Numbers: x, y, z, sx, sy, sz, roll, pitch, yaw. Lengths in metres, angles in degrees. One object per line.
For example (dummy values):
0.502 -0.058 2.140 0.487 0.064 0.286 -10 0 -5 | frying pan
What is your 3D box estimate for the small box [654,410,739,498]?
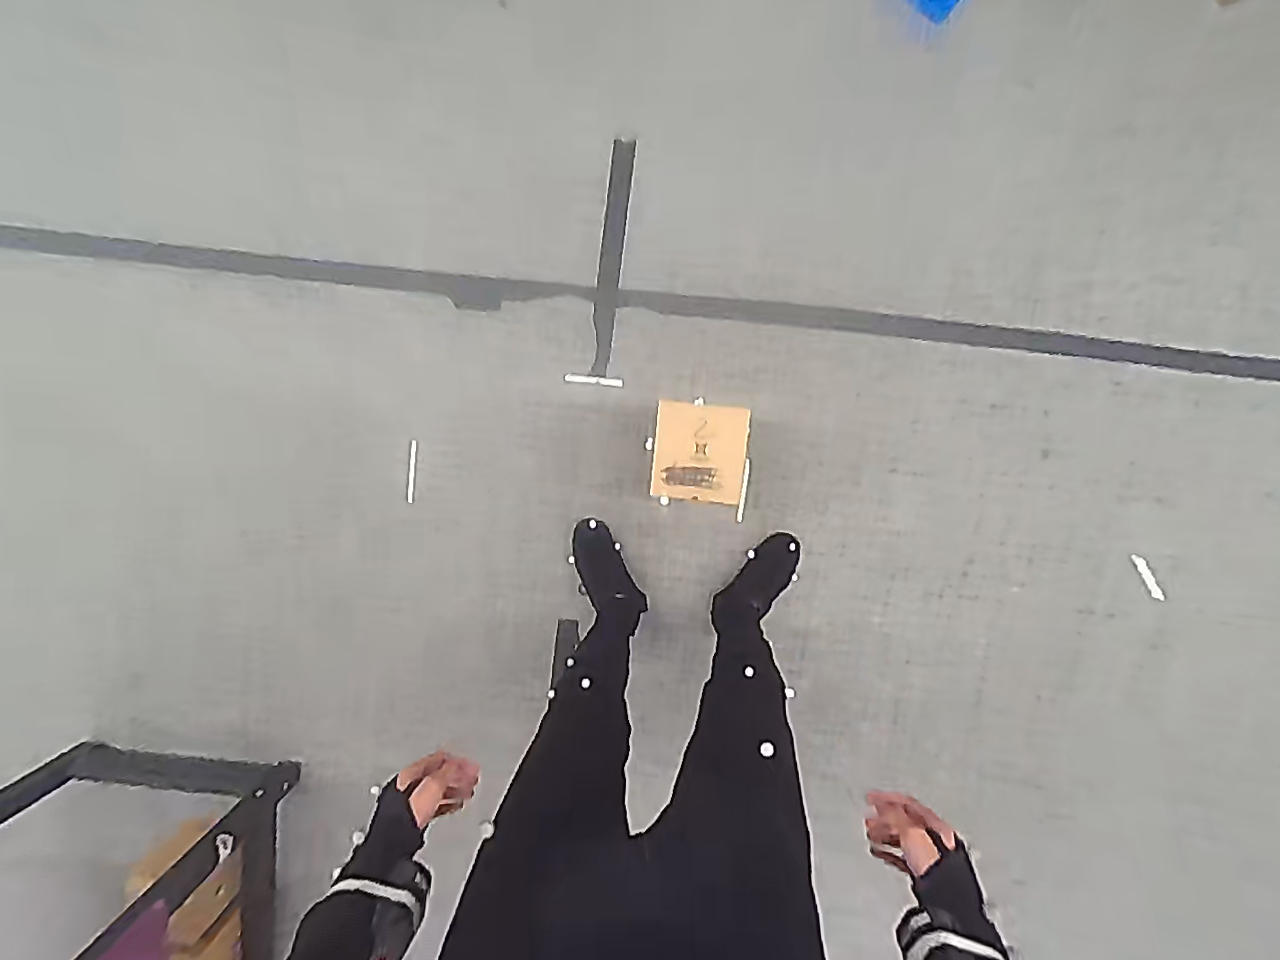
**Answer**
0.120 -0.063 1.209 0.168 0.176 0.179 4 98 1 | small box
